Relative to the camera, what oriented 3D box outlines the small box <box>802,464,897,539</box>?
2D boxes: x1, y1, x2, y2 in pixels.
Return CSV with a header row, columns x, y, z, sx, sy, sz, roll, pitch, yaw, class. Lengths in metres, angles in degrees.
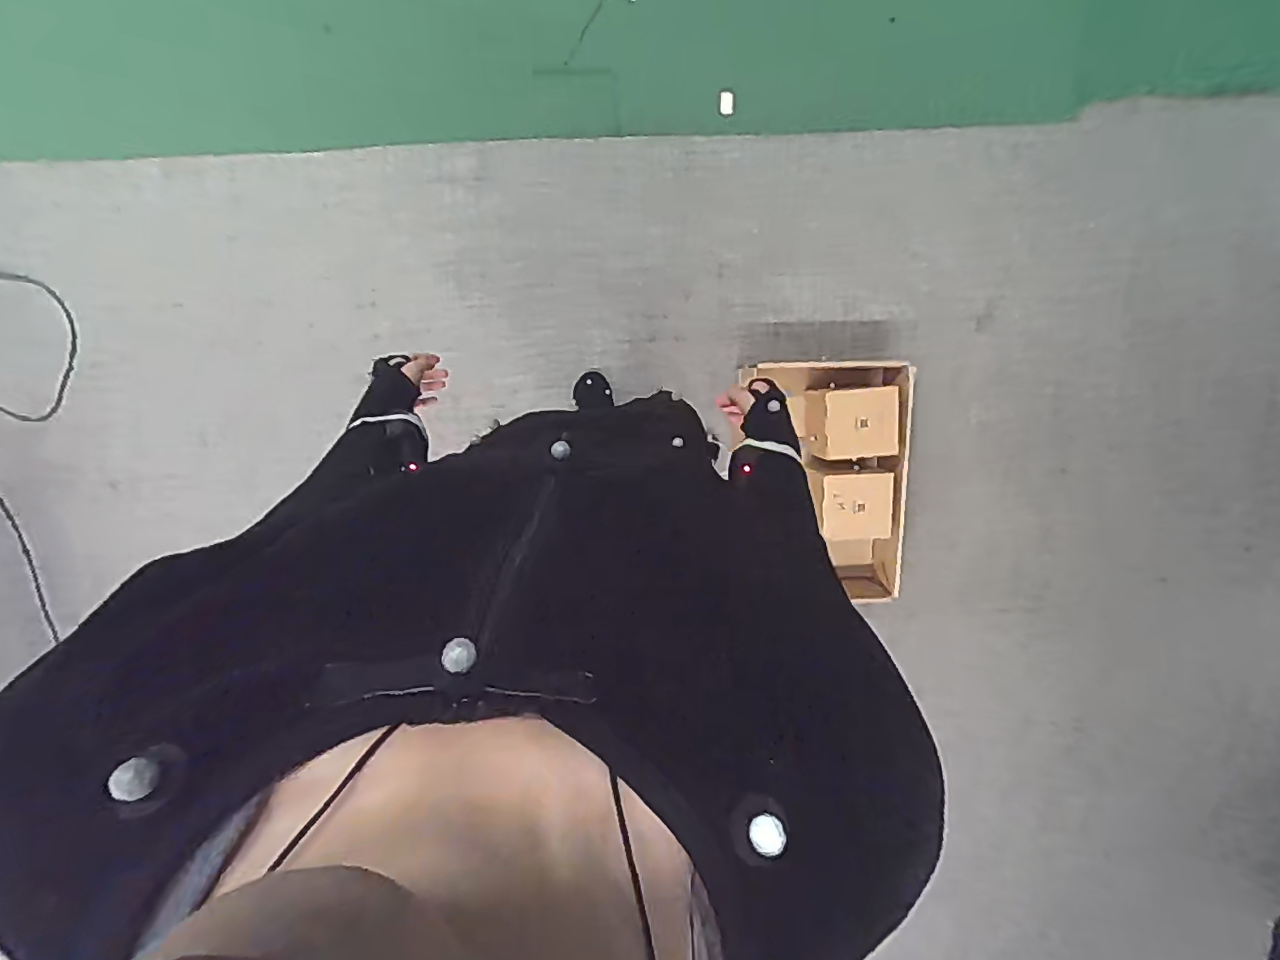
x,y,z,sx,sy,sz,roll,pitch,yaw,class
0.534,0.051,1.396,0.179,0.176,0.168,0,100,0,small box
